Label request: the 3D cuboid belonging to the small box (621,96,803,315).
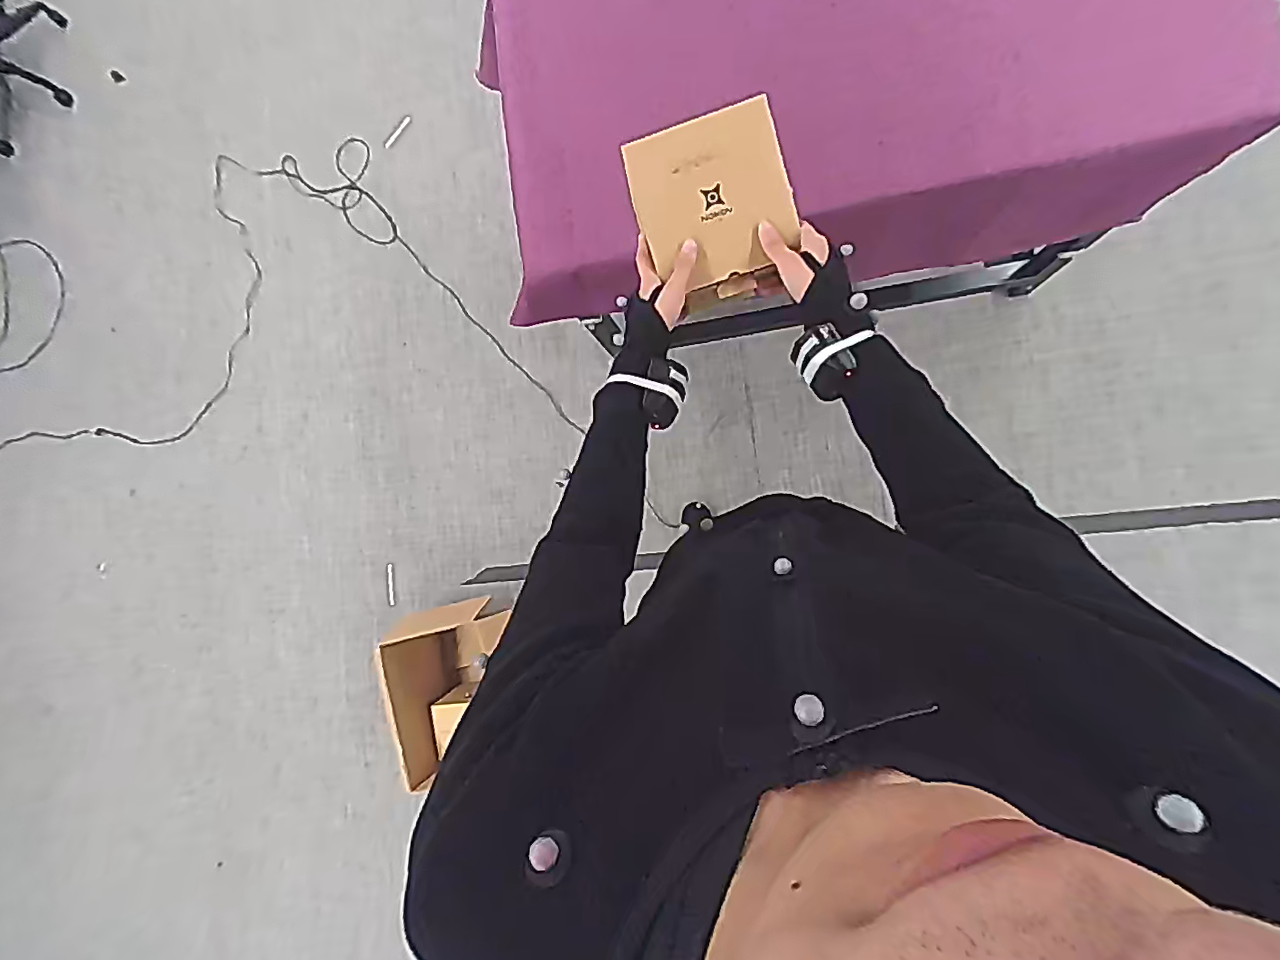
[{"bbox_3d":[0.085,-0.316,0.670,0.168,0.176,0.179,-16,96,6],"label":"small box"}]
